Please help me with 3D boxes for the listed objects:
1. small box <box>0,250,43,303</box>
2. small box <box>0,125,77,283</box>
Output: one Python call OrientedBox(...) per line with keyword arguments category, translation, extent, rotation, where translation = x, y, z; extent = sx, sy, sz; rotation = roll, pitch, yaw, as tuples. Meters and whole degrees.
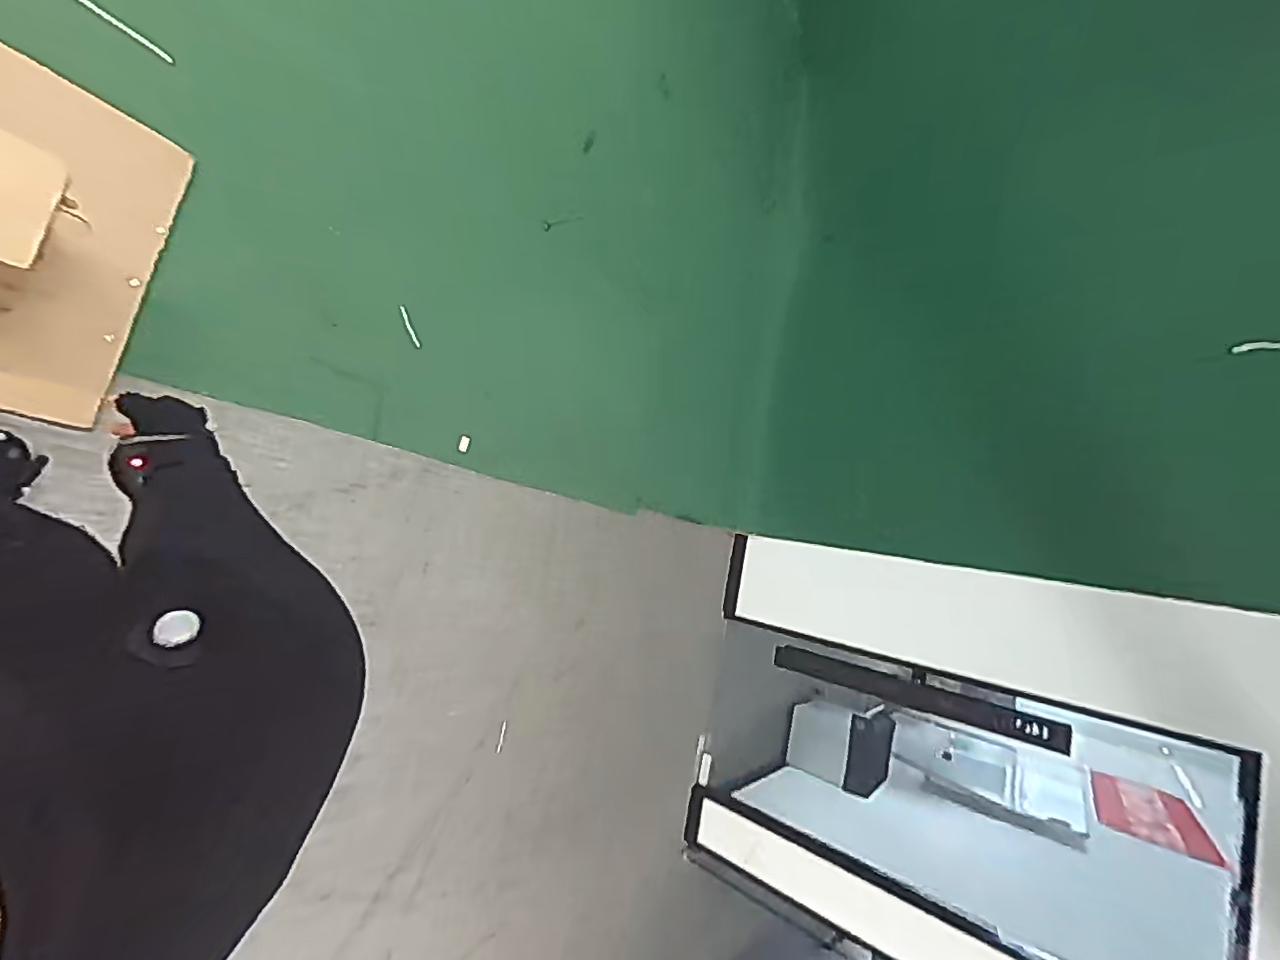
OrientedBox(category="small box", translation=(-1.079, -0.407, 0.864), extent=(0.168, 0.176, 0.179), rotation=(20, 80, -50))
OrientedBox(category="small box", translation=(-0.948, -0.405, 0.762), extent=(0.168, 0.176, 0.179), rotation=(24, 77, -49))
